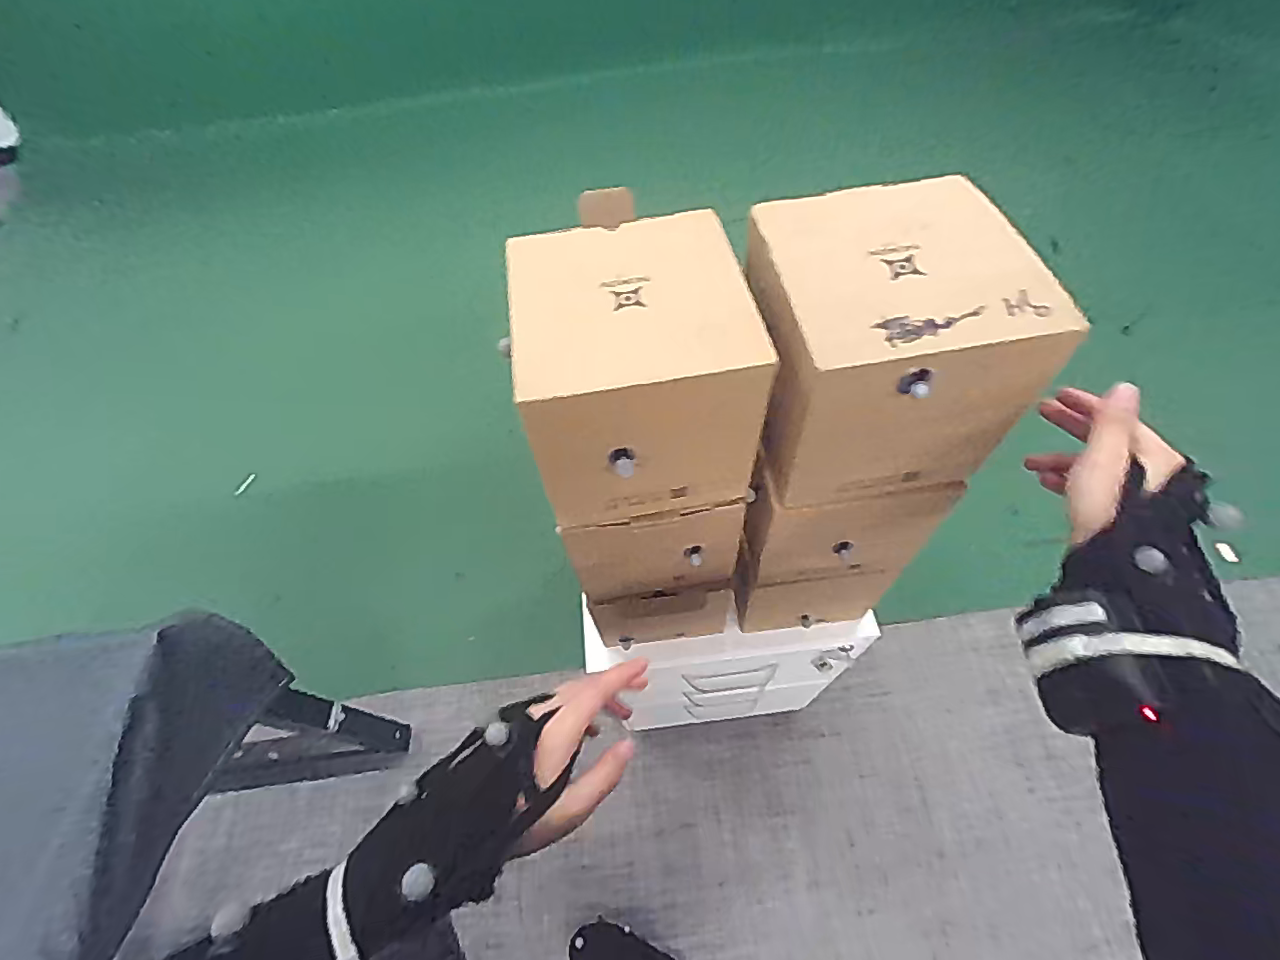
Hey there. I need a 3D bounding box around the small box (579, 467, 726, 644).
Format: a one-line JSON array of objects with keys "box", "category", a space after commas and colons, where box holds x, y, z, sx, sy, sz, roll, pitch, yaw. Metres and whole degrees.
[{"box": [0.014, 0.106, 0.709, 0.168, 0.176, 0.179, -6, 56, -1], "category": "small box"}]

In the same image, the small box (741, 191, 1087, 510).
[{"box": [0.183, -0.098, 0.436, 0.168, 0.176, 0.179, -8, 56, 0], "category": "small box"}]
